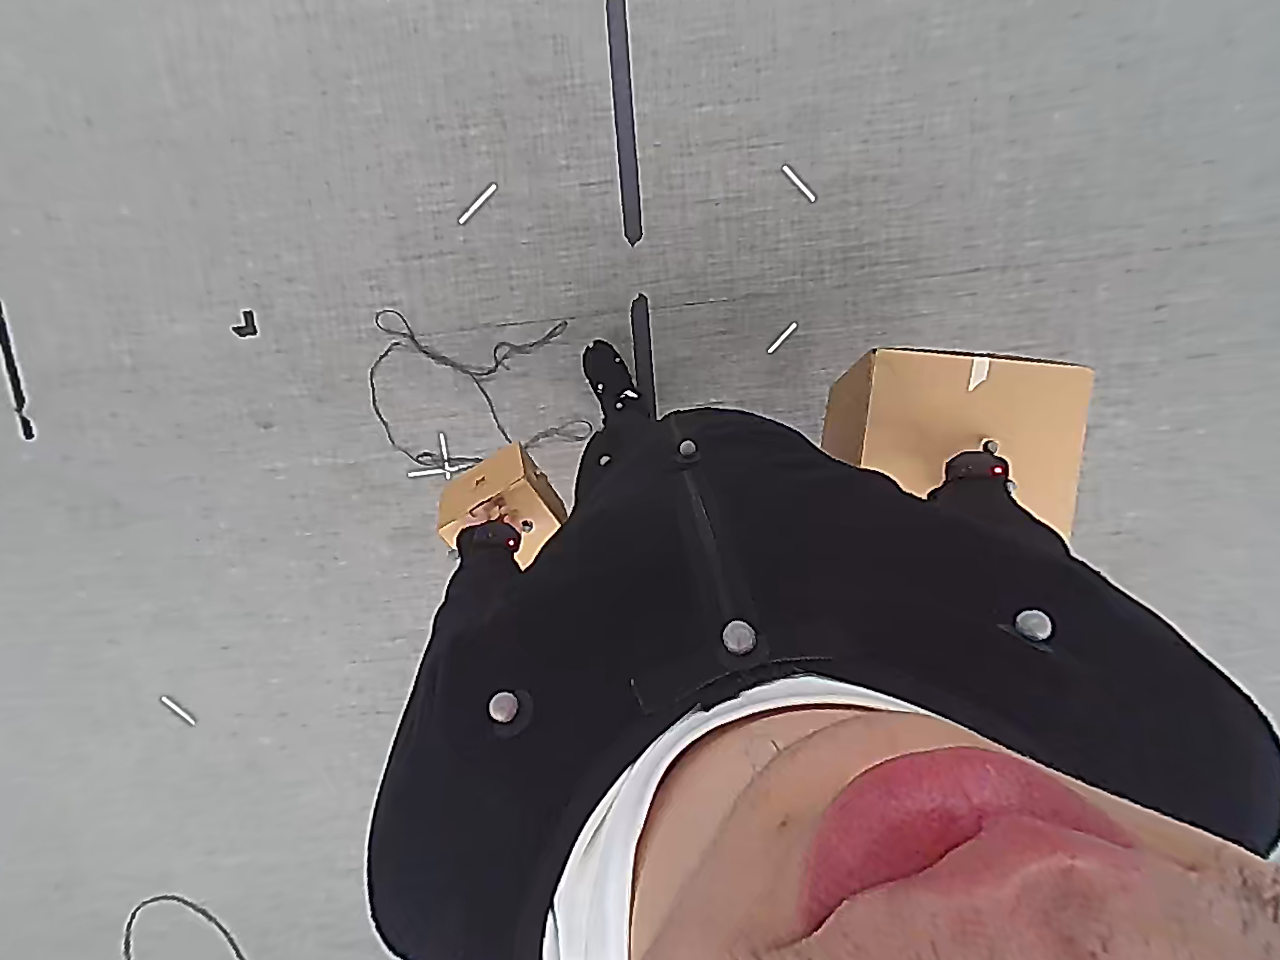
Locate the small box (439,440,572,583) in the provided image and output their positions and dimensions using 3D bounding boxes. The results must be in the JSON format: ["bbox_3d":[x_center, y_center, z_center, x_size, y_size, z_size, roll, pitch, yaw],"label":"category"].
[{"bbox_3d":[-0.237,0.061,0.977,0.168,0.179,0.176,-31,119,0],"label":"small box"}]
